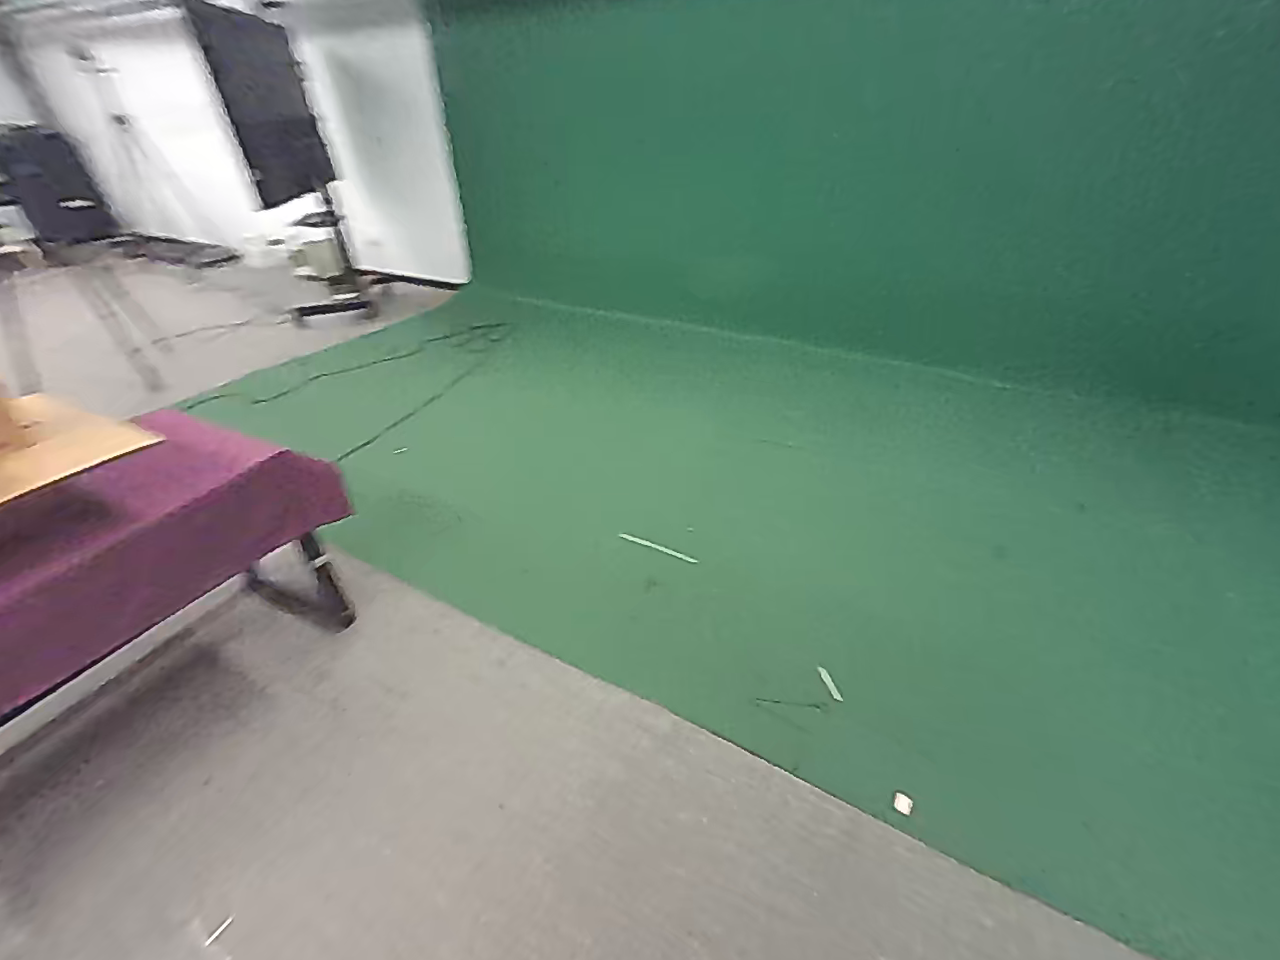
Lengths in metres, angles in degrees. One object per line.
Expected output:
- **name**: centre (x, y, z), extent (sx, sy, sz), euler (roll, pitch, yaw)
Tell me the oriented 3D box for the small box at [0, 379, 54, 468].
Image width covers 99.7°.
- **small box**: centre (-1.513, -0.125, 1.227), extent (0.179, 0.176, 0.168), euler (16, 36, 23)
